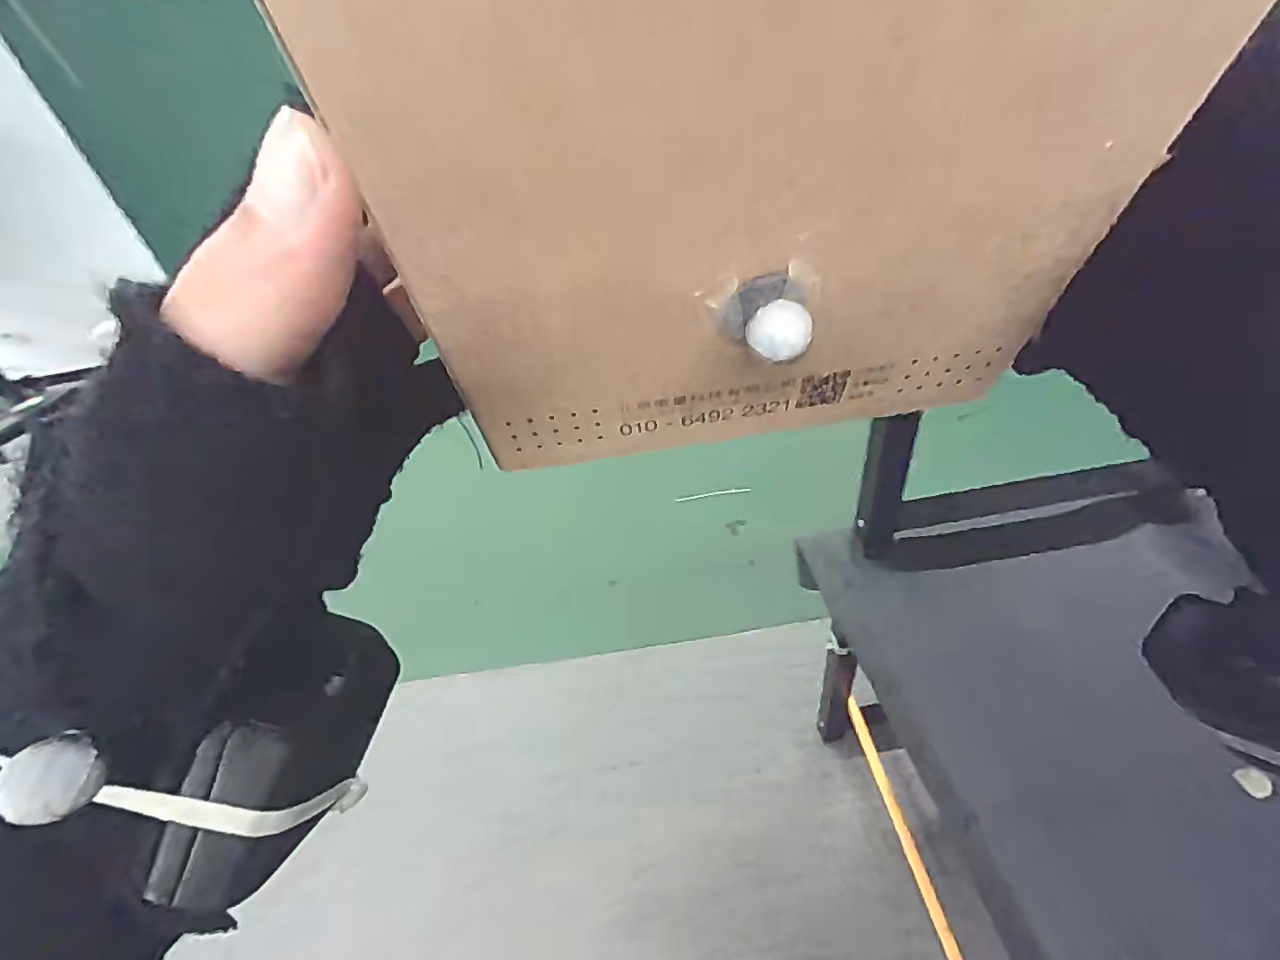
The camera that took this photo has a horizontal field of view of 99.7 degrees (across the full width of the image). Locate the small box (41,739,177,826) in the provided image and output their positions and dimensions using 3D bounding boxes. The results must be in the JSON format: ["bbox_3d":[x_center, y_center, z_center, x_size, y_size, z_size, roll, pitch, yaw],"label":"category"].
[{"bbox_3d":[-1.496,0.863,1.538,0.179,0.176,0.168,-6,39,4],"label":"small box"}]

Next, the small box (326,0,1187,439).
[{"bbox_3d":[0.015,-0.138,0.164,0.168,0.176,0.179,-10,57,-1],"label":"small box"}]
